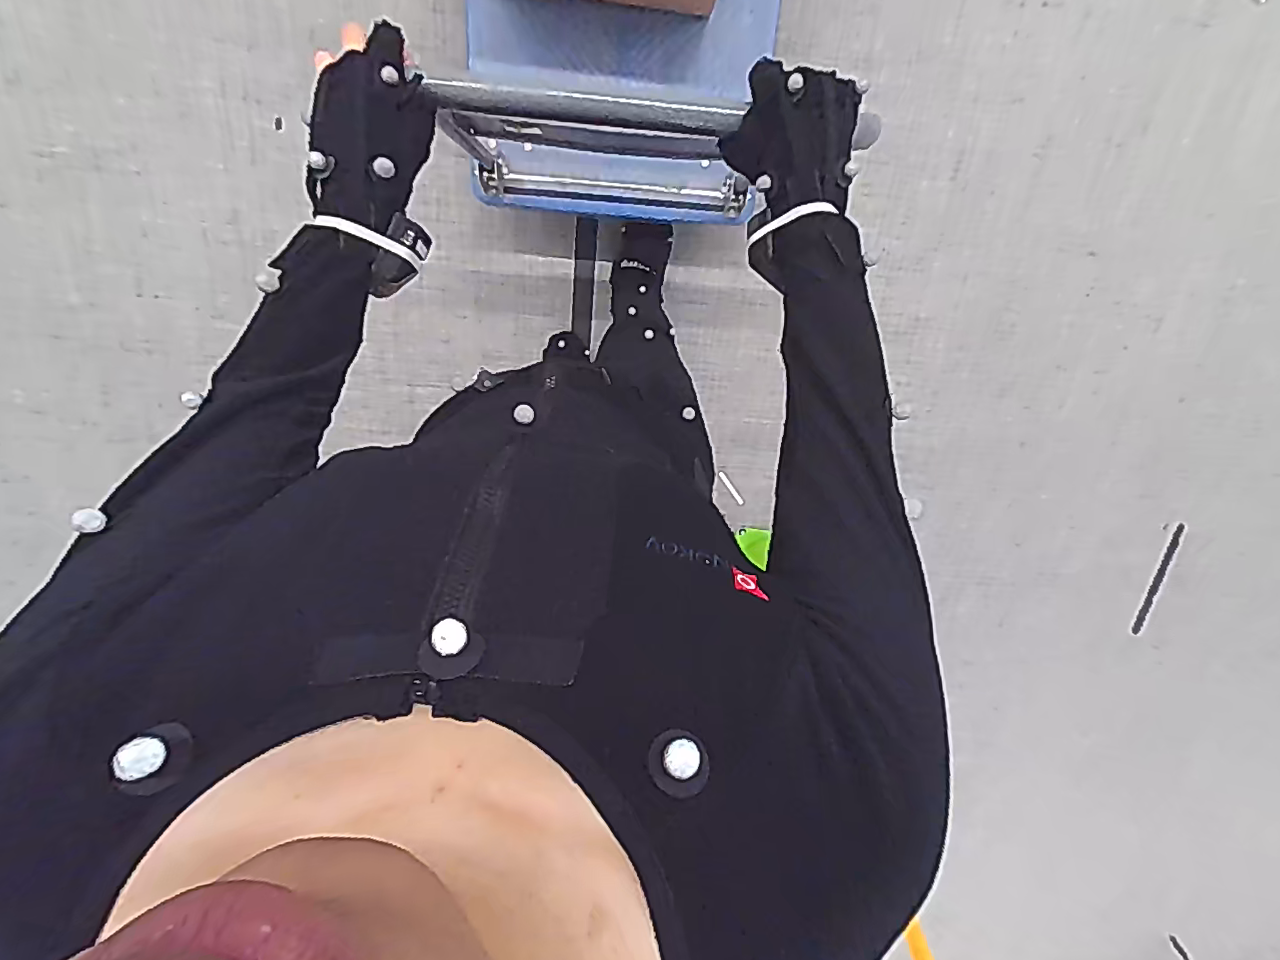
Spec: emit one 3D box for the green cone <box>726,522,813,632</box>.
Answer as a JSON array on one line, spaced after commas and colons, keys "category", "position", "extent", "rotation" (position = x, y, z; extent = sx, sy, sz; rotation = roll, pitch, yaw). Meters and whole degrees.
[{"category": "green cone", "position": [0.377, 0.284, 1.451], "extent": [0.202, 0.368, 0.200], "rotation": [7, 110, -6]}]
